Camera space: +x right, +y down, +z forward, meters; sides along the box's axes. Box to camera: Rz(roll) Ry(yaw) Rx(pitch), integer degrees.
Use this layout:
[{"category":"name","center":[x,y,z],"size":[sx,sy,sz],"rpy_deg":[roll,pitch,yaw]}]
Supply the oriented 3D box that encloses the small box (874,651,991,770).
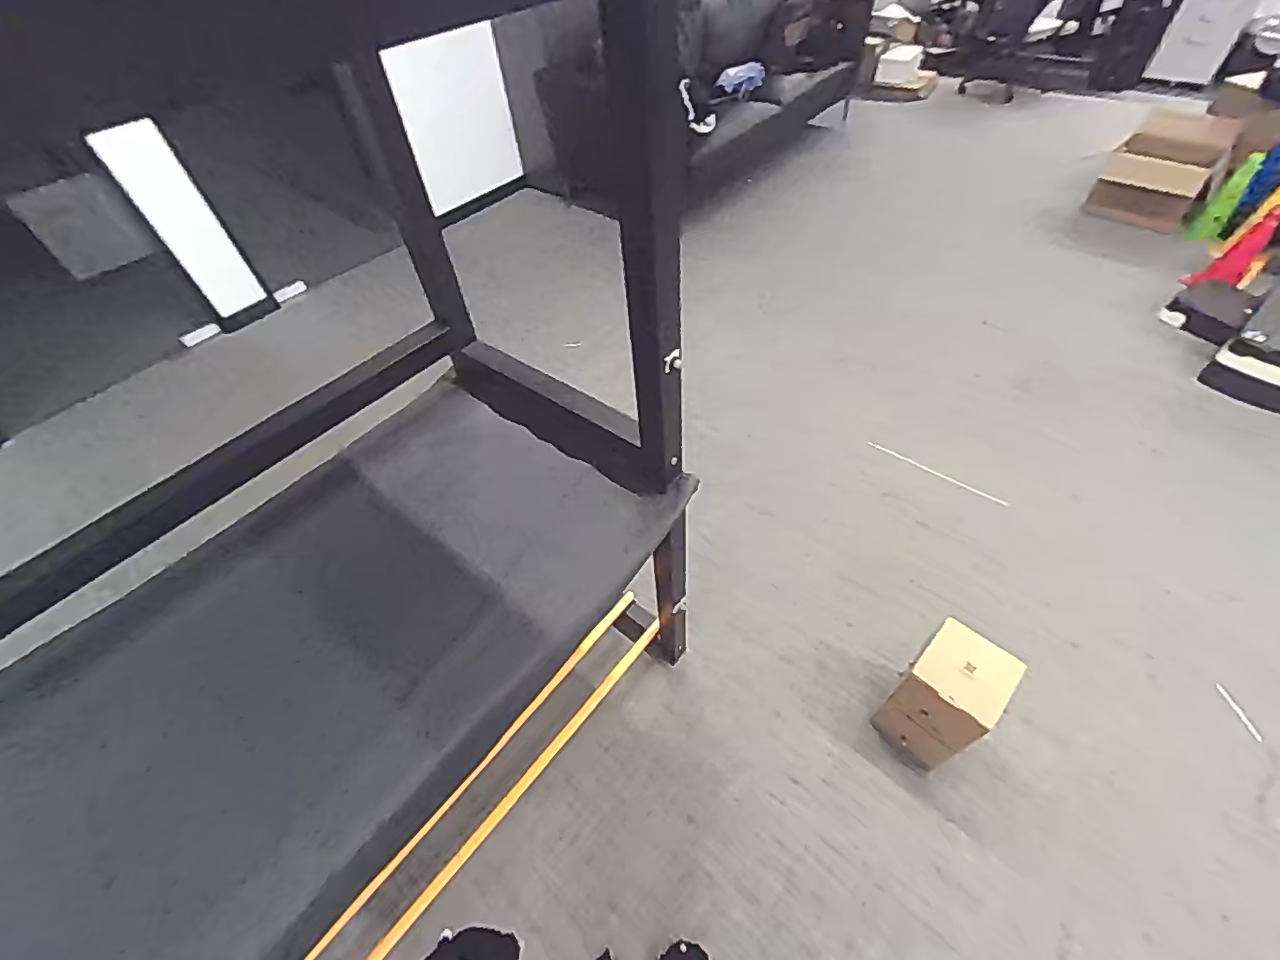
[{"category":"small box","center":[0.689,0.552,1.295],"size":[0.179,0.176,0.168],"rpy_deg":[-39,56,-24]}]
